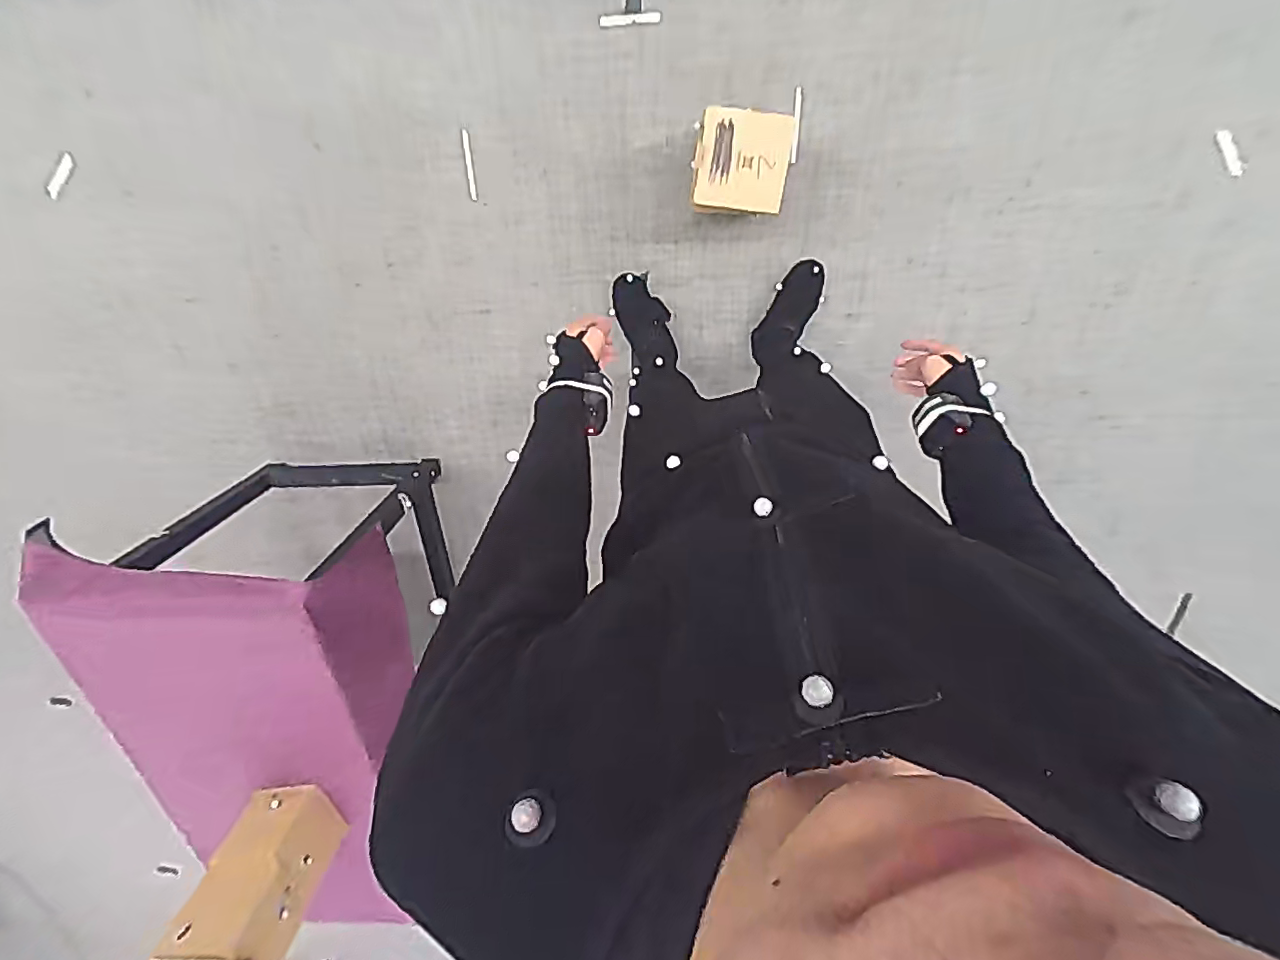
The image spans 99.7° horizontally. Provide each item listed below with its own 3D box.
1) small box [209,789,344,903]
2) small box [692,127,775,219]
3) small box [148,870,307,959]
[{"bbox_3d":[-0.849,0.870,1.286,0.168,0.176,0.179,-11,115,8],"label":"small box"},{"bbox_3d":[0.210,-0.712,1.266,0.168,0.176,0.179,3,116,1],"label":"small box"},{"bbox_3d":[-0.862,0.963,1.149,0.179,0.176,0.168,-6,117,6],"label":"small box"}]
